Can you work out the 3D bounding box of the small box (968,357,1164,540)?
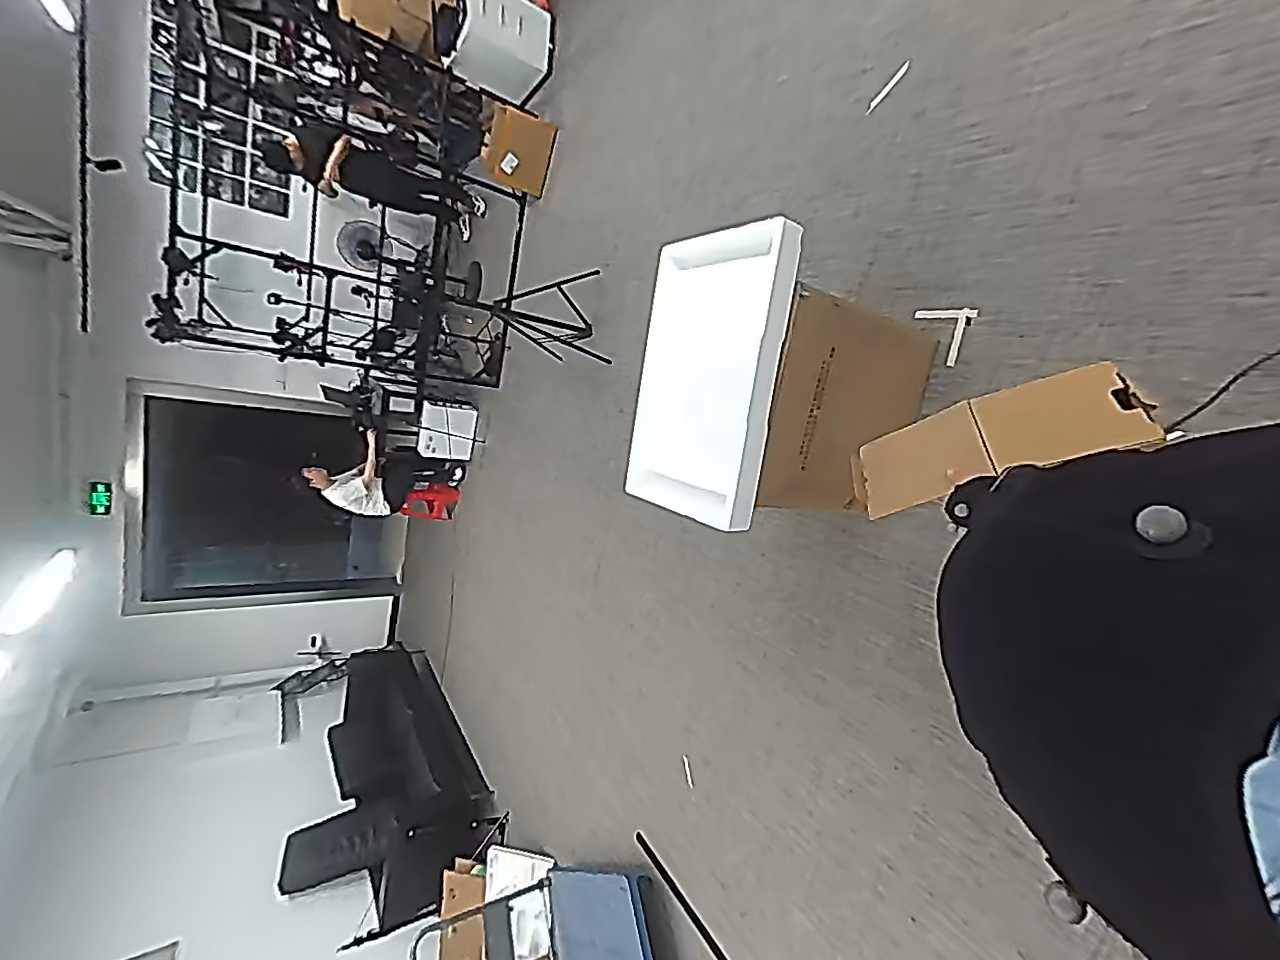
[{"bbox_3d":[0.595,-0.035,0.764,0.179,0.176,0.168,-17,40,29],"label":"small box"}]
